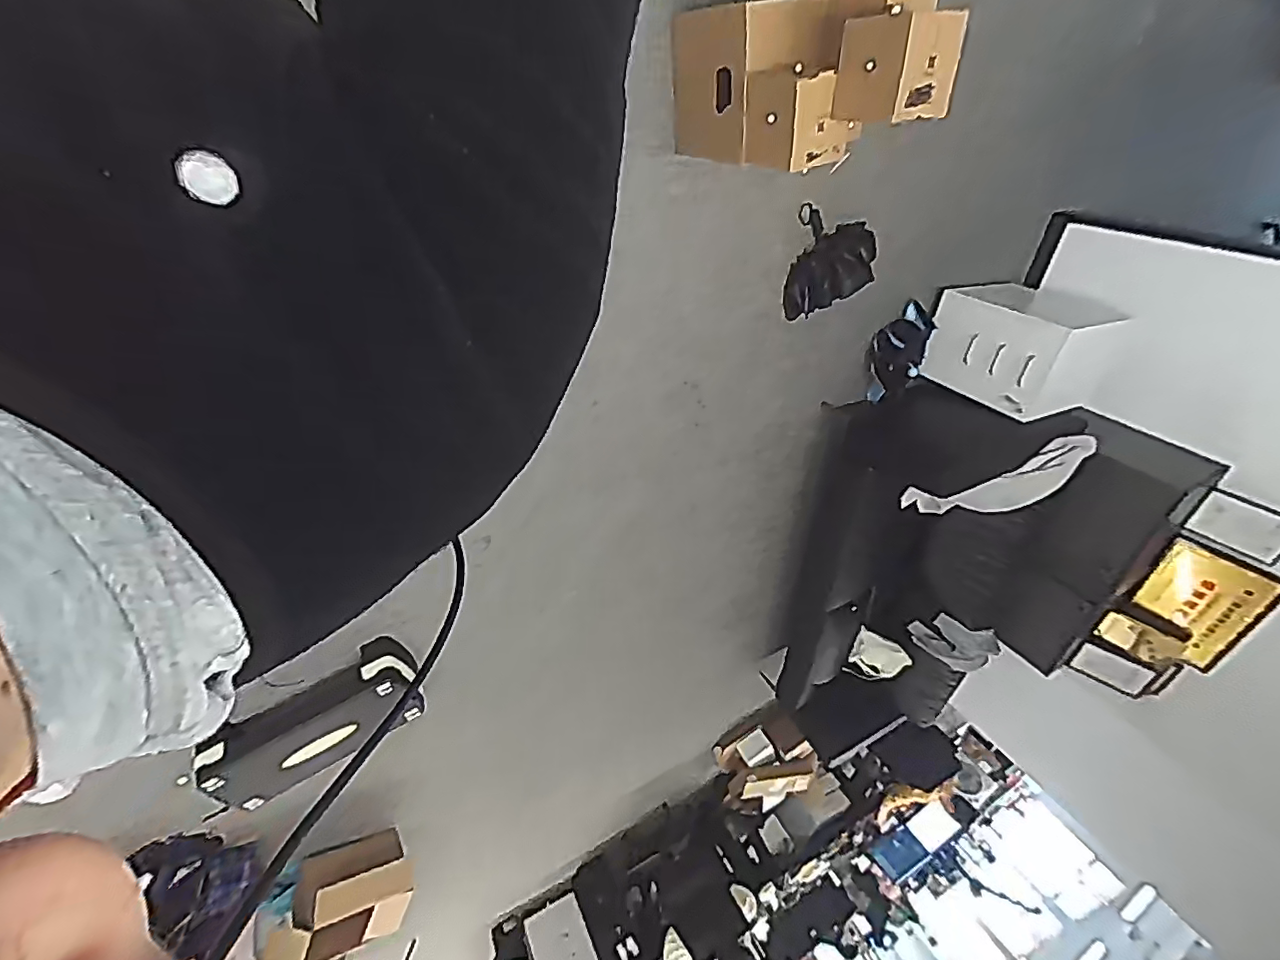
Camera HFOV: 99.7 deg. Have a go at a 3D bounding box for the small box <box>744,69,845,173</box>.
[{"bbox_3d":[0.356,-0.836,1.258,0.168,0.176,0.179,-25,133,-18],"label":"small box"}]

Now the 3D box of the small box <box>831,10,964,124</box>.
[{"bbox_3d":[0.525,-0.856,1.127,0.168,0.176,0.179,-21,129,-22],"label":"small box"}]
